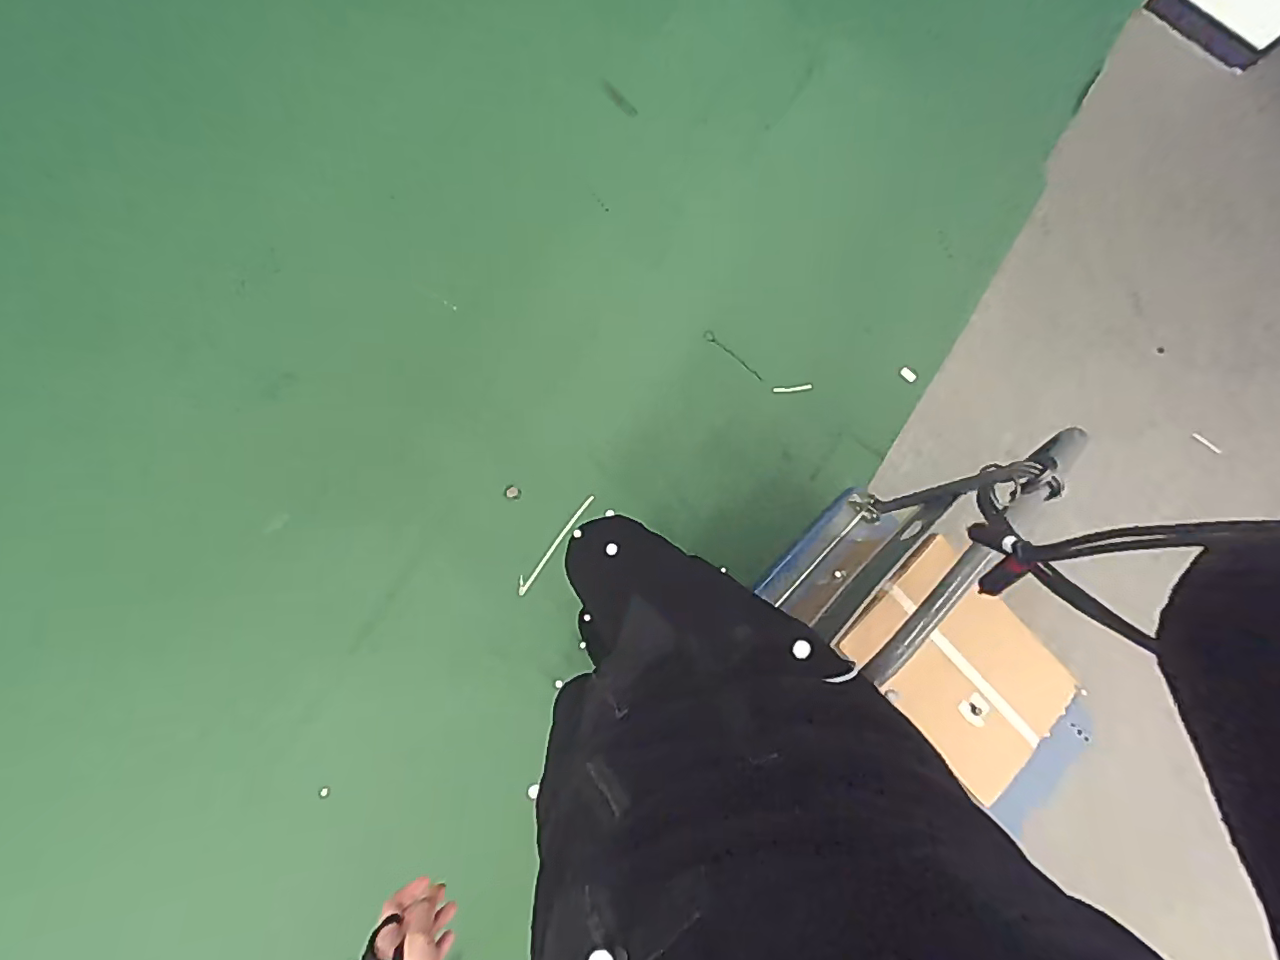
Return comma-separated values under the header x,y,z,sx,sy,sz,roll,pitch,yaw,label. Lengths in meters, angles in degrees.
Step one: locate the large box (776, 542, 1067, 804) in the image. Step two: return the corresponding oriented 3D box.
x,y,z,sx,sy,sz,roll,pitch,yaw,label
0.584,0.389,1.189,0.320,0.320,0.408,-41,88,-12,large box
